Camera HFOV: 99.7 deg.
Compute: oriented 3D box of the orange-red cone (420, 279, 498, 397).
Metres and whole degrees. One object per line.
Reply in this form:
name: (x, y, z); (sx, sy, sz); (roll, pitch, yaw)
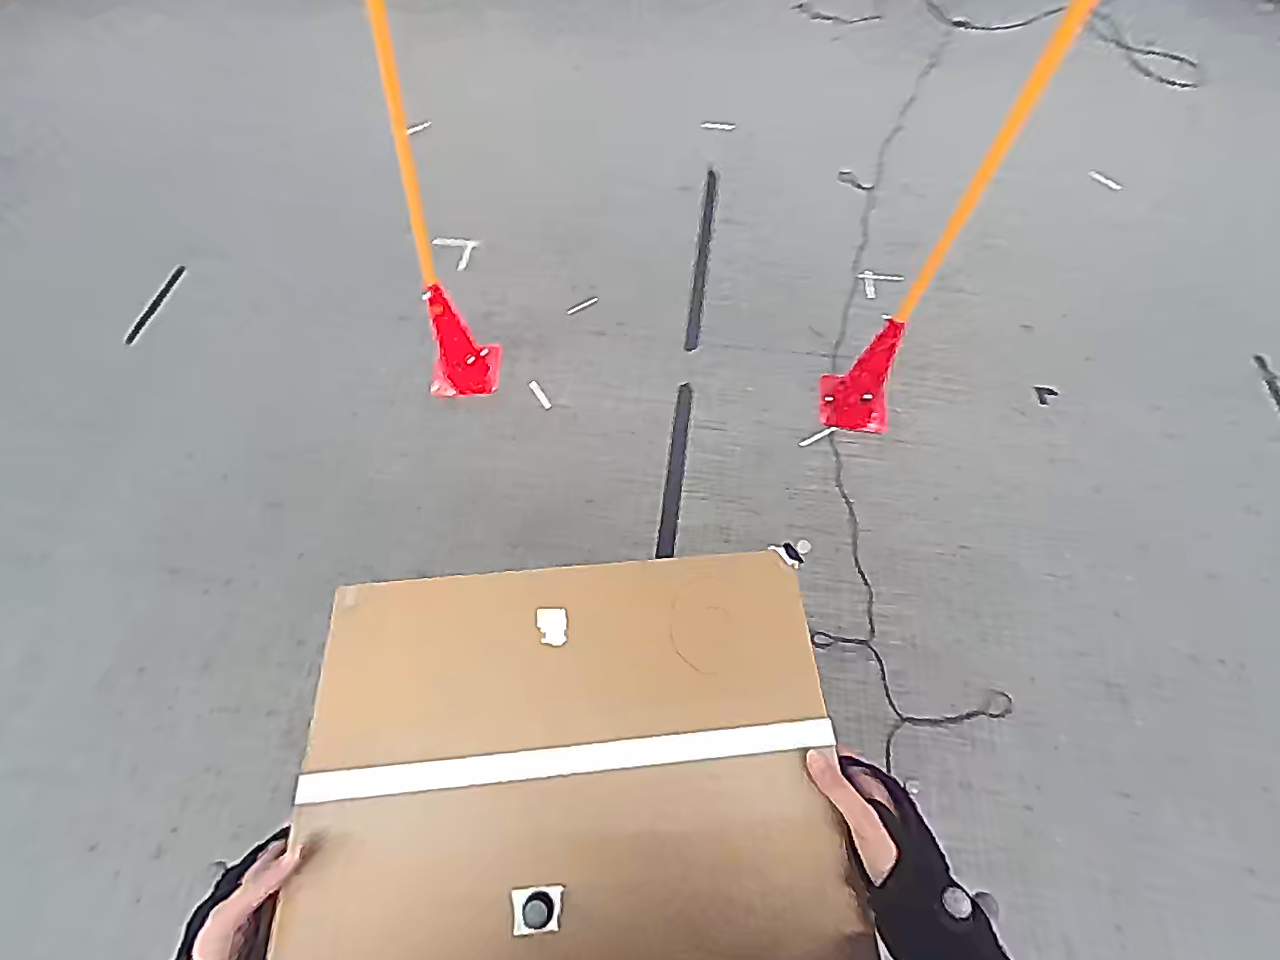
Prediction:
orange-red cone: (-0.558, -0.424, 1.560); (0.199, 0.360, 0.198); (-2, 61, 0)
